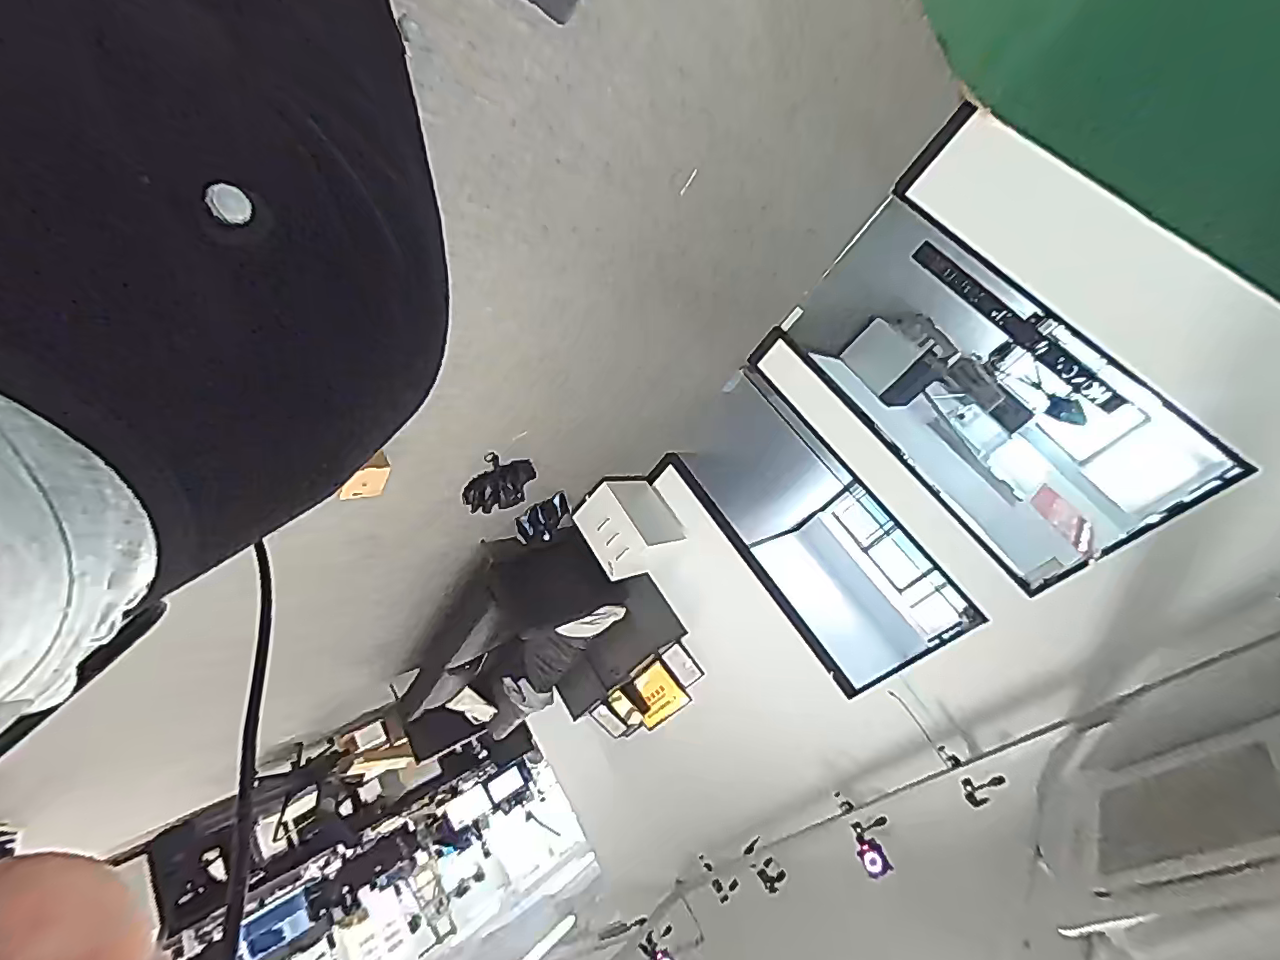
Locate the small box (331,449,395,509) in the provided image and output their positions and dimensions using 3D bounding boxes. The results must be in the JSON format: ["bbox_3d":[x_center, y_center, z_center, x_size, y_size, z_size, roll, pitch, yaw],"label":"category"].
[{"bbox_3d":[-1.111,-0.011,2.161,0.168,0.176,0.179,-10,146,-48],"label":"small box"}]
